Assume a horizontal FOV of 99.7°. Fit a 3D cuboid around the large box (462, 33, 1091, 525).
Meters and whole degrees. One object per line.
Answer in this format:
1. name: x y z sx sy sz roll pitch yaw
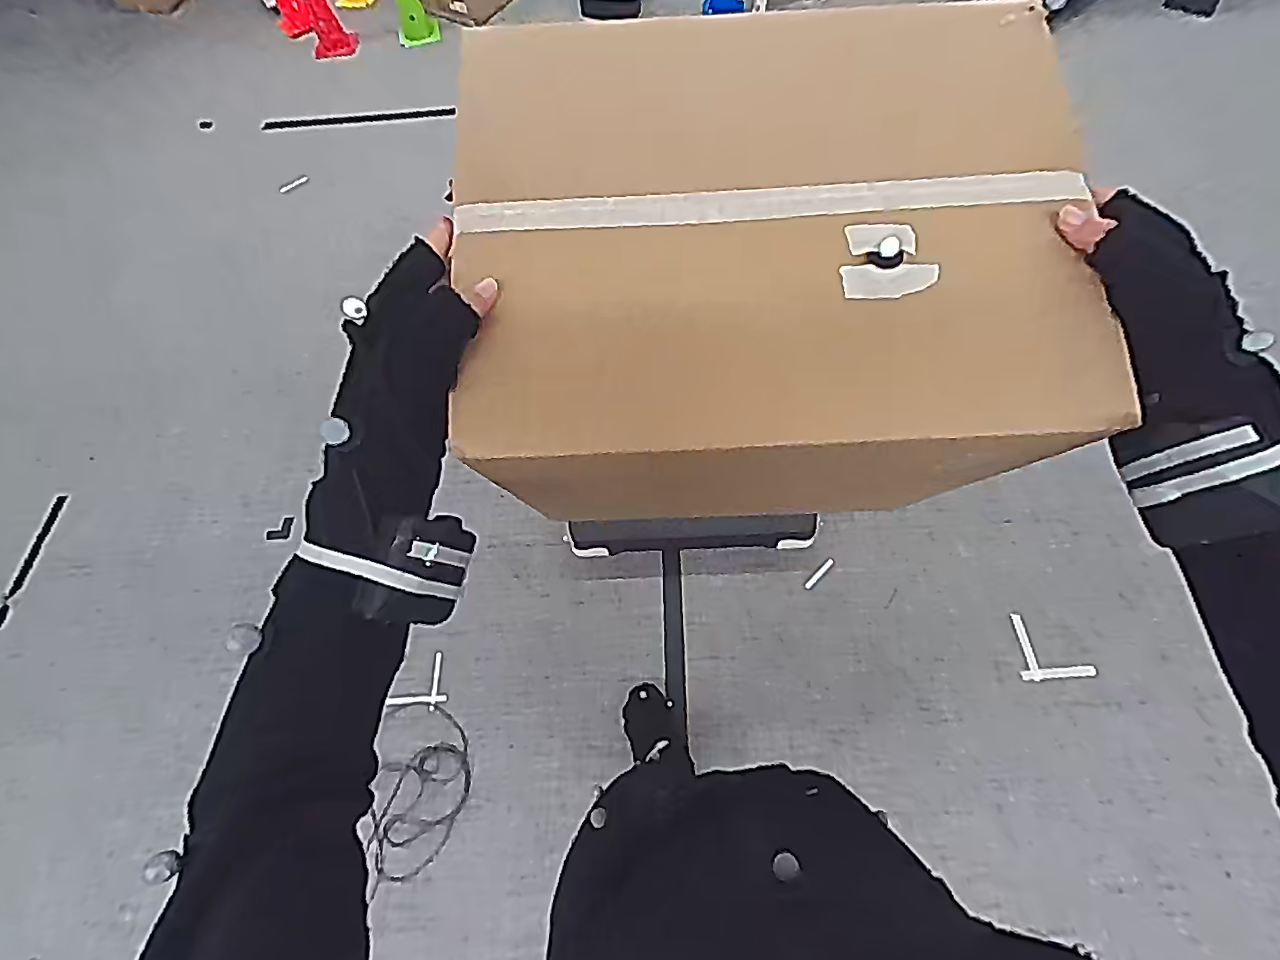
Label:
1. large box: 0.078 -0.140 0.515 0.408 0.320 0.320 -3 78 1
